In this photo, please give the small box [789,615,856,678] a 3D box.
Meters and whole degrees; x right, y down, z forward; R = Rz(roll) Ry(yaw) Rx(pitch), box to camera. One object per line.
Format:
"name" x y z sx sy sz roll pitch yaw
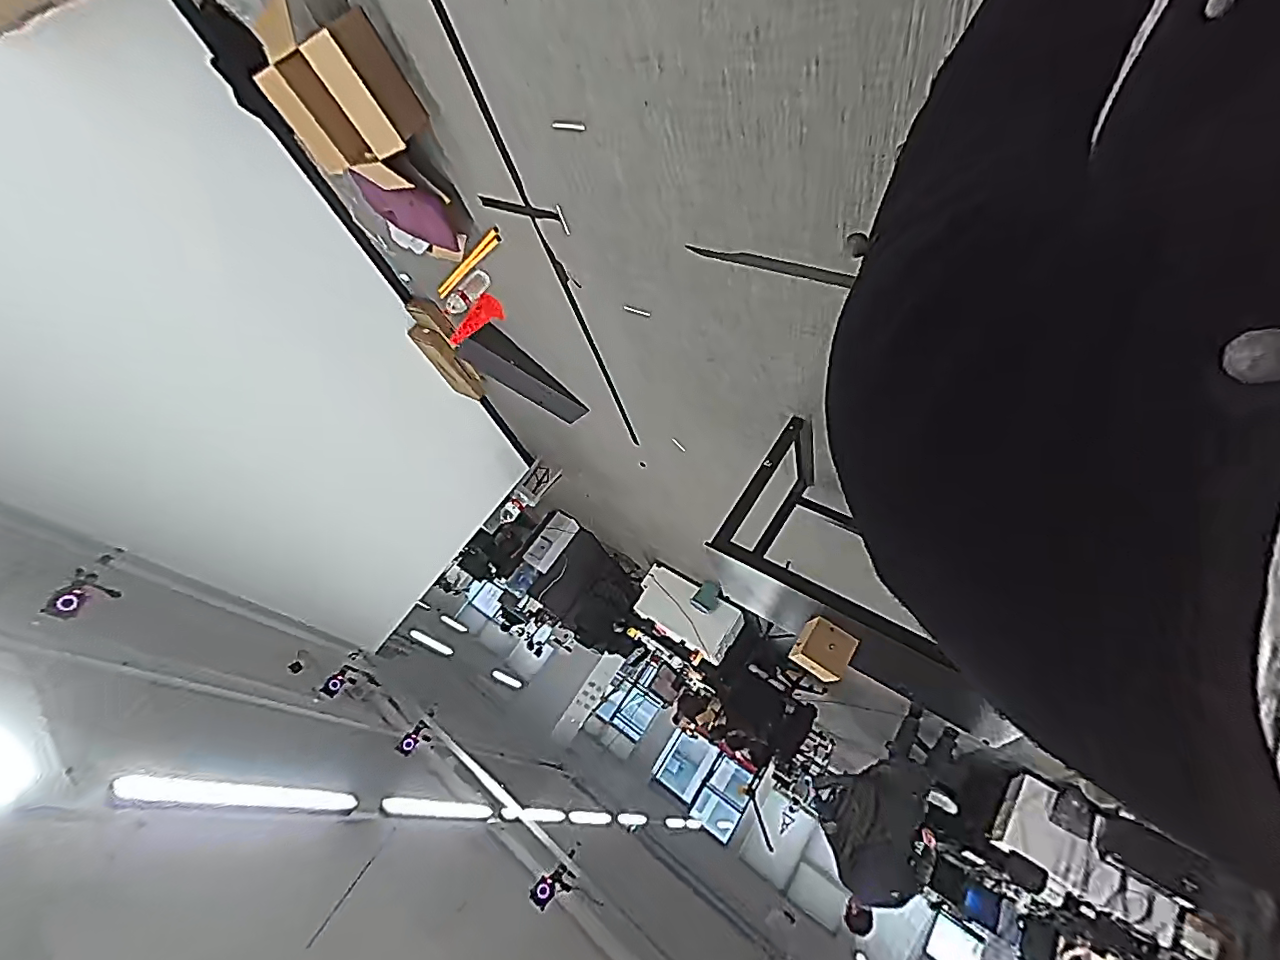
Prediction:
"small box" 0.703 0.639 2.078 0.168 0.176 0.179 33 162 13
